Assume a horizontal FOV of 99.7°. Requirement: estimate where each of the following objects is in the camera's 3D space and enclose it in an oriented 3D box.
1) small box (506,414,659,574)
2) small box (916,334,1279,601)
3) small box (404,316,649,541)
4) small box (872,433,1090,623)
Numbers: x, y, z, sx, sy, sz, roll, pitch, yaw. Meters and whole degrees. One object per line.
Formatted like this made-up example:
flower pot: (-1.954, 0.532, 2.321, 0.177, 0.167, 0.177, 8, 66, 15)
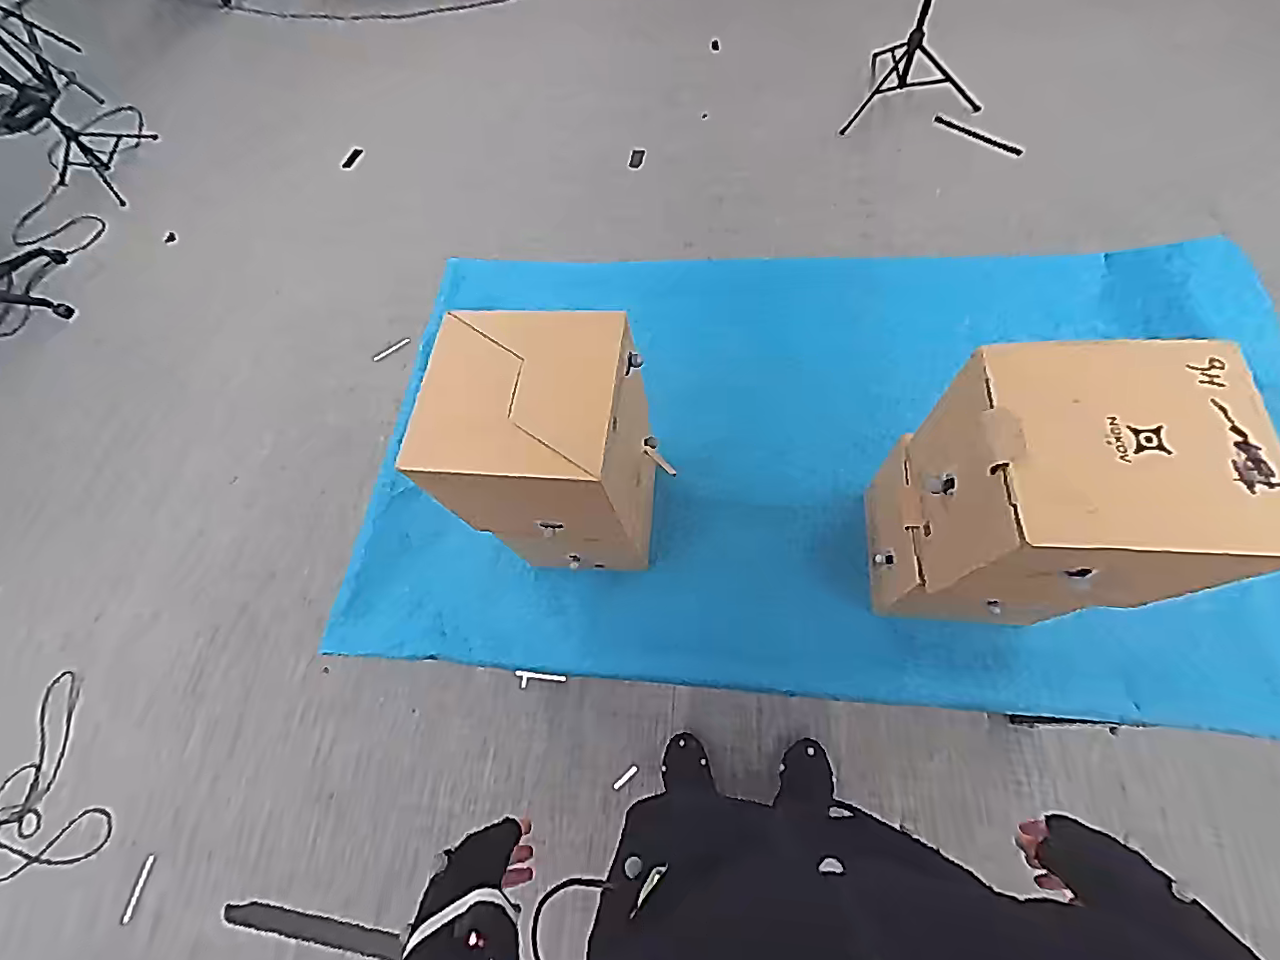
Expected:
small box: (-0.072, 0.009, 0.691, 0.168, 0.176, 0.179, 4, 70, 12)
small box: (0.348, 0.002, 0.447, 0.179, 0.176, 0.168, -1, 66, 8)
small box: (-0.095, -0.045, 0.534, 0.179, 0.176, 0.168, 3, 67, 10)
small box: (0.365, 0.060, 0.598, 0.179, 0.176, 0.168, 2, 67, 10)
